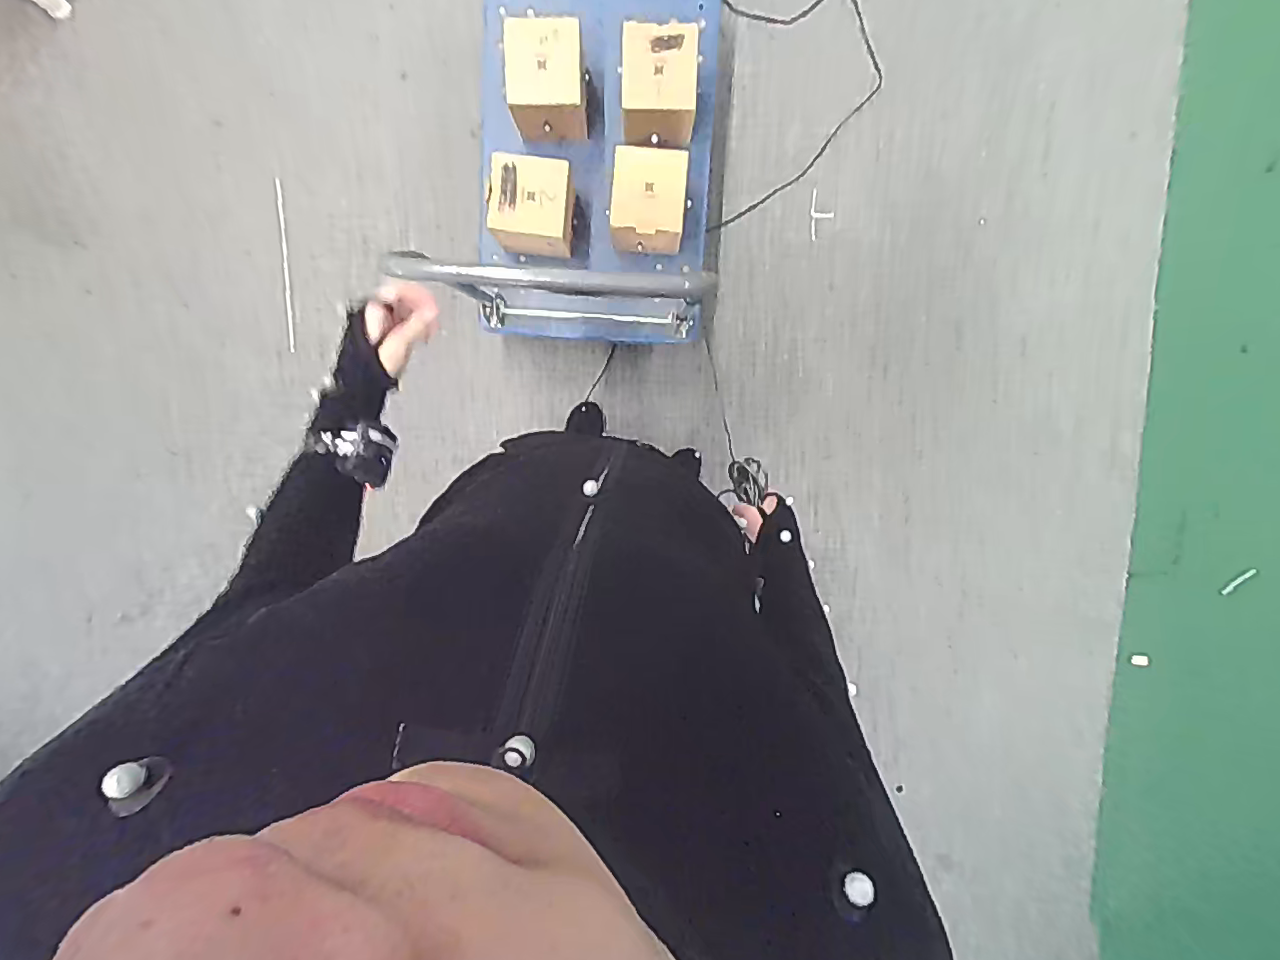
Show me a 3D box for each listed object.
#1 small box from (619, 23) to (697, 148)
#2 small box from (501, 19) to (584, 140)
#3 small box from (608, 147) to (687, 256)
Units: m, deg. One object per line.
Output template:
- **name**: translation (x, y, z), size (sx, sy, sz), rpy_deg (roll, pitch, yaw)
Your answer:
- **small box**: translation (0.037, -0.905, 1.253), size (0.168, 0.176, 0.179), rpy_deg (2, 98, 0)
- **small box**: translation (-0.219, -0.914, 1.251), size (0.168, 0.176, 0.179), rpy_deg (0, 97, -1)
- **small box**: translation (0.014, -0.654, 1.287), size (0.168, 0.176, 0.179), rpy_deg (5, 98, -1)
